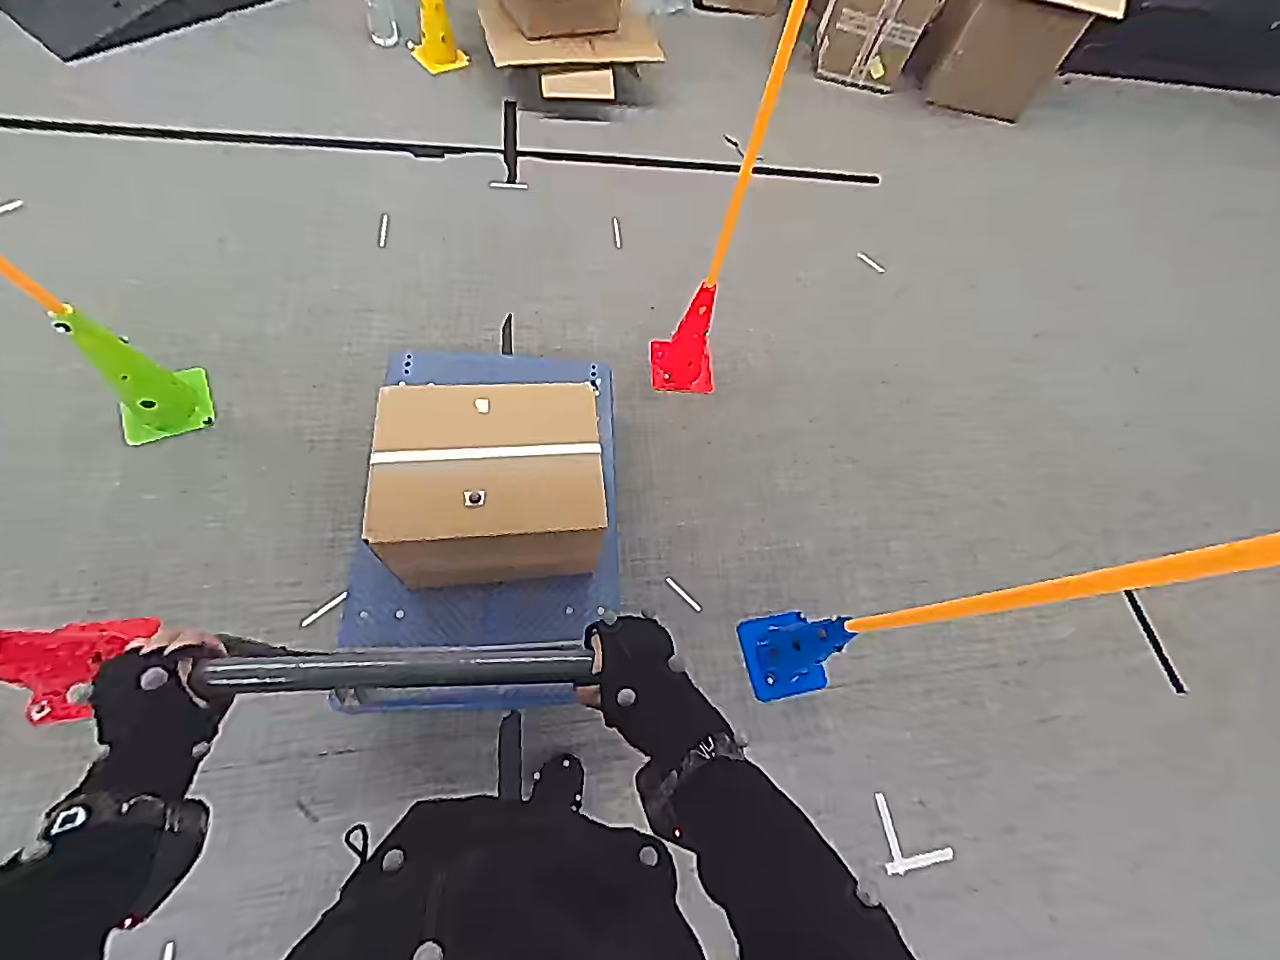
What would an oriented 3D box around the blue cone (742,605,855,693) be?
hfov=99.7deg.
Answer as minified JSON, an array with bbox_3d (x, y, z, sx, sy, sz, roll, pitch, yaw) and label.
[{"bbox_3d":[0.394,0.364,1.247,0.193,0.380,0.192,-6,64,-13],"label":"blue cone"}]

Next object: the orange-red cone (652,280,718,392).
[{"bbox_3d":[0.166,-0.446,1.595,0.199,0.360,0.198,4,64,-9],"label":"orange-red cone"}]
